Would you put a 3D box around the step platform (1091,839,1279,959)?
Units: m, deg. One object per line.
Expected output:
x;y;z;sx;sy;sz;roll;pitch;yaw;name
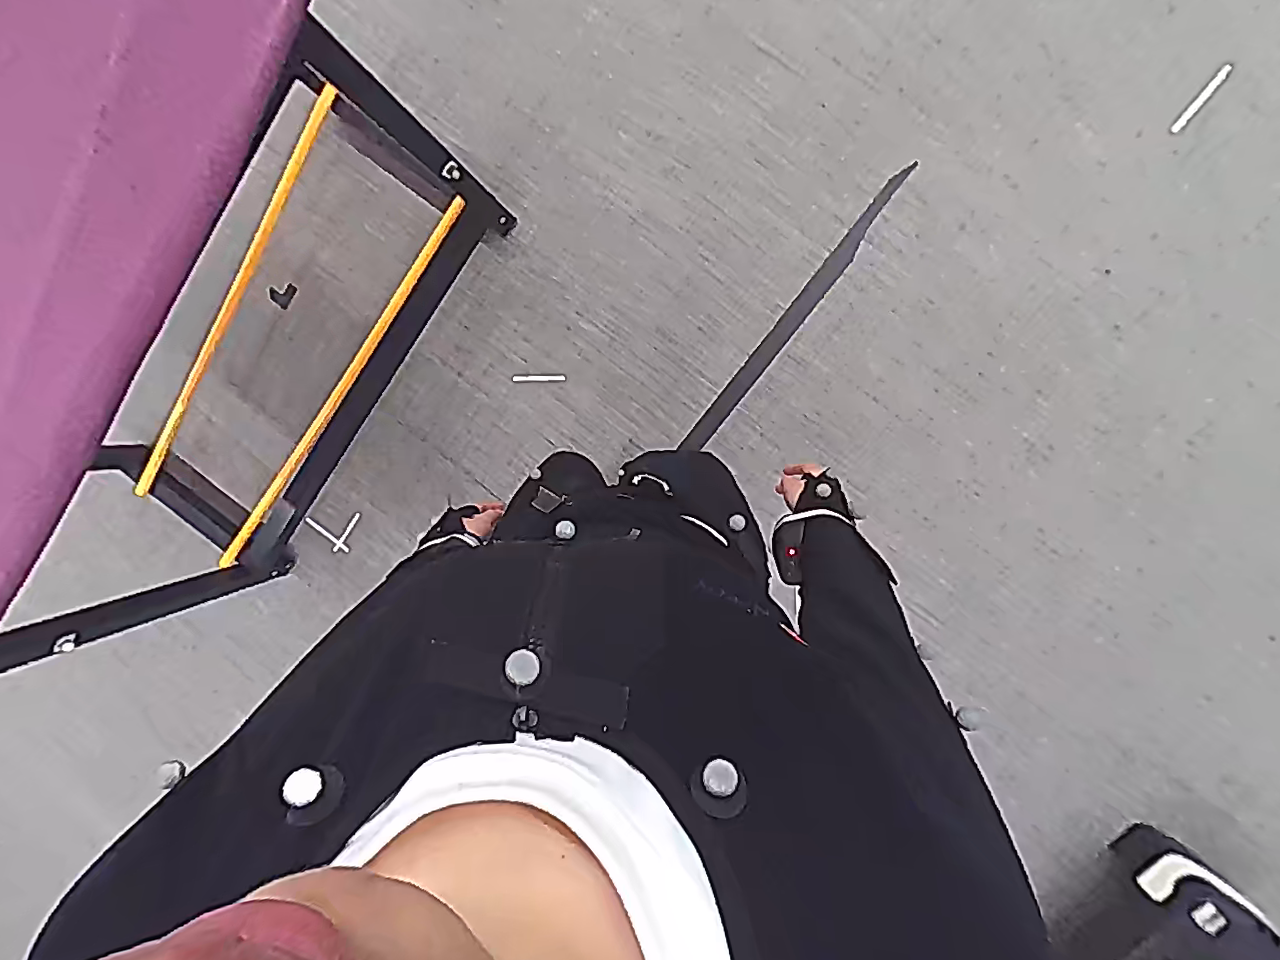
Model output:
1.091;1.183;1.233;0.286;0.204;0.684;37;98;3;step platform
